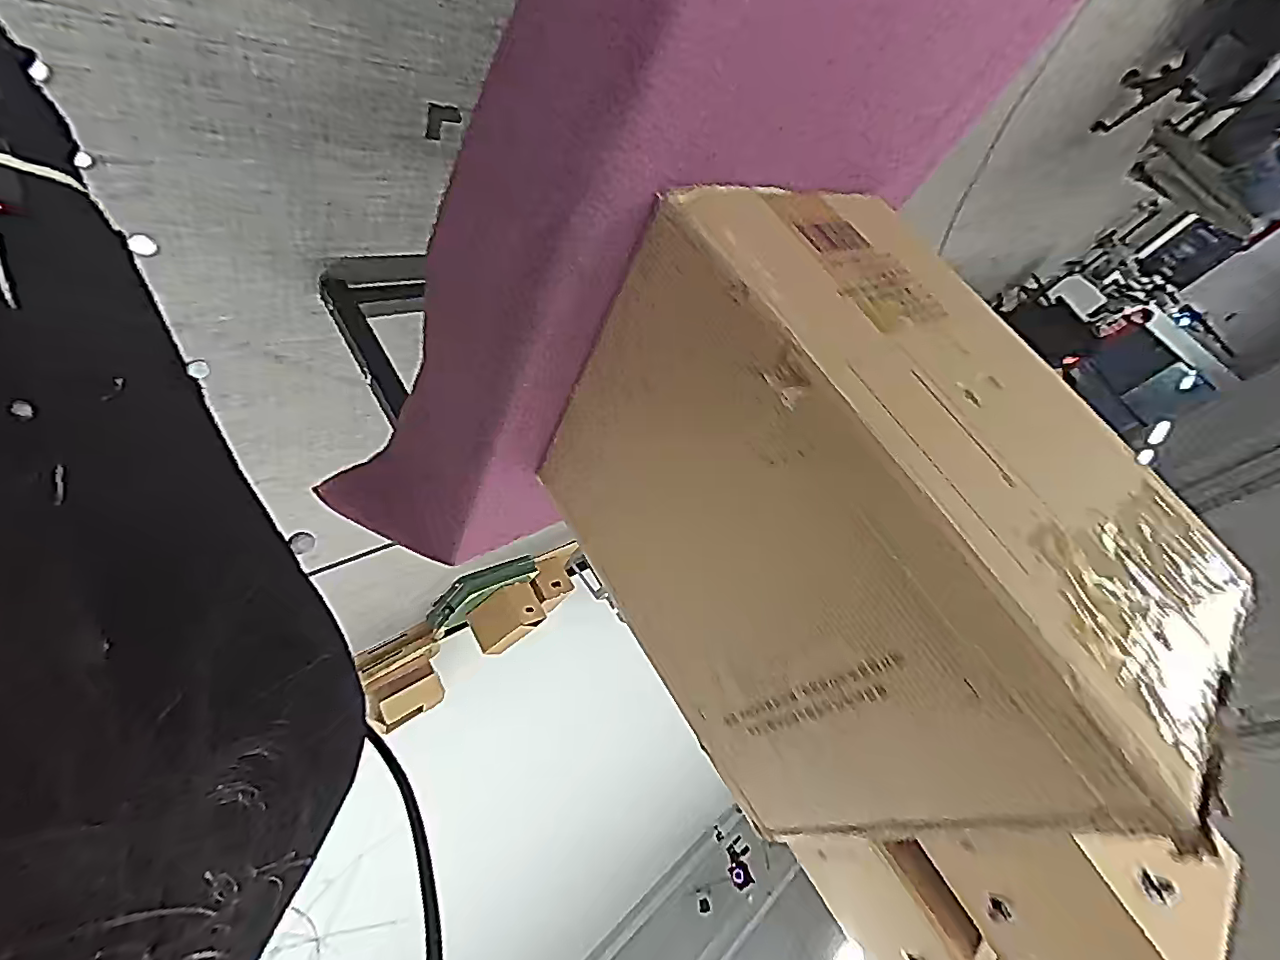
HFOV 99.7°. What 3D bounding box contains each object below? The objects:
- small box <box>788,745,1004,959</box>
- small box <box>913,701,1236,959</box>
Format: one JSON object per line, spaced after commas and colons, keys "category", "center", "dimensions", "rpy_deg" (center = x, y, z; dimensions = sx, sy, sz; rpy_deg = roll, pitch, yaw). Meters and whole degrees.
{"category": "small box", "center": [0.322, 0.457, 0.663], "dimensions": [0.179, 0.176, 0.168], "rpy_deg": [-24, 161, -36]}
{"category": "small box", "center": [0.411, 0.349, 0.530], "dimensions": [0.179, 0.176, 0.168], "rpy_deg": [-25, 165, -35]}
